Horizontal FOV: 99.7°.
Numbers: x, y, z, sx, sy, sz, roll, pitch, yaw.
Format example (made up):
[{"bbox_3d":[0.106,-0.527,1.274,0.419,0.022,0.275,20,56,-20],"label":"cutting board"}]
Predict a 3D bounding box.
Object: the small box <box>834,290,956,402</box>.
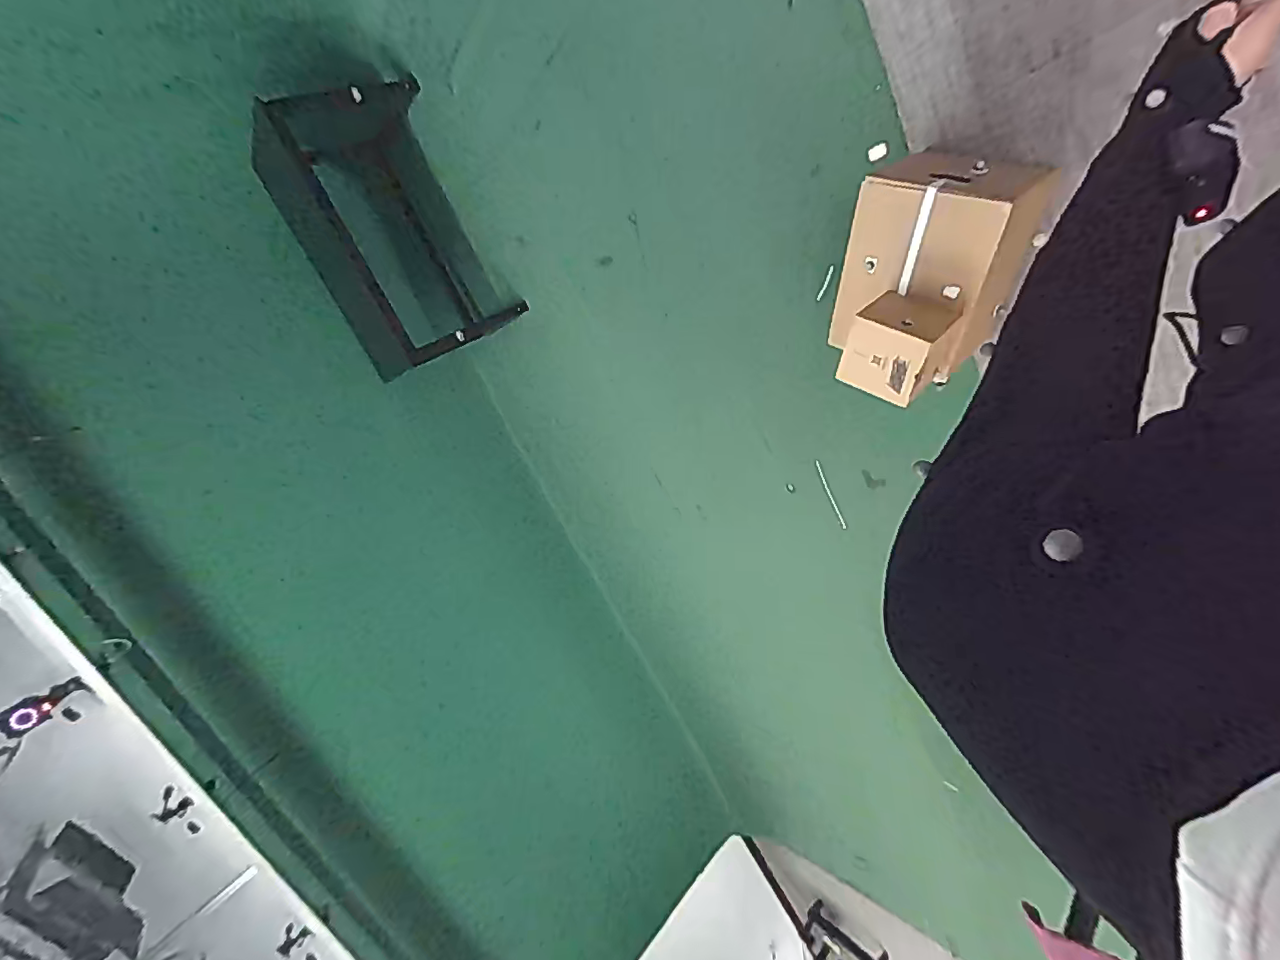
[{"bbox_3d":[0.579,-0.311,1.228,0.179,0.176,0.168,33,143,29],"label":"small box"}]
